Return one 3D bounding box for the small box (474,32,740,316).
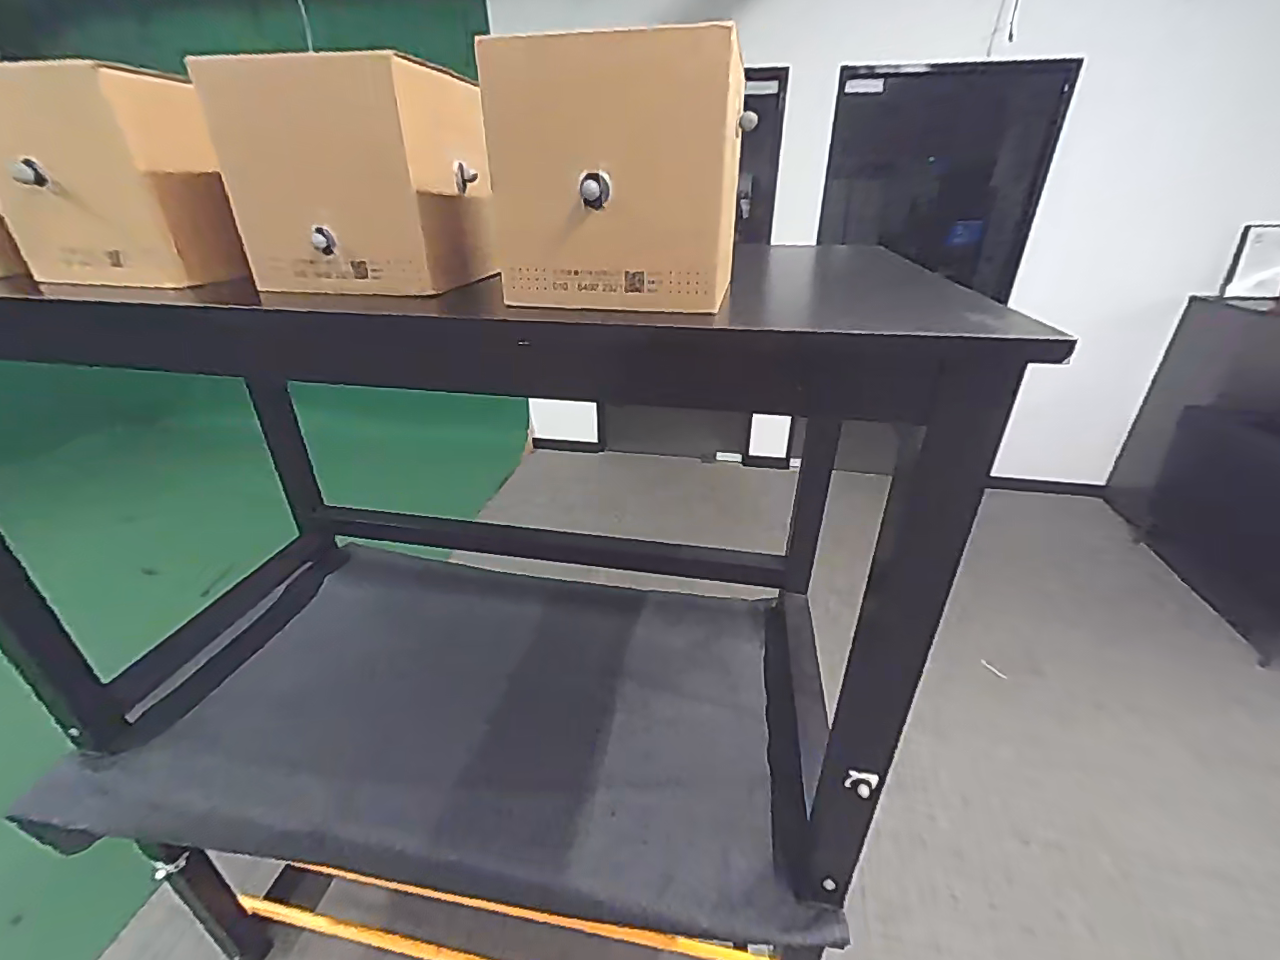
[{"bbox_3d":[-0.011,-0.236,0.443,0.168,0.176,0.179,6,28,10],"label":"small box"}]

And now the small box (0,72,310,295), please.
[{"bbox_3d":[-0.474,-0.284,0.540,0.168,0.176,0.179,5,28,11],"label":"small box"}]
